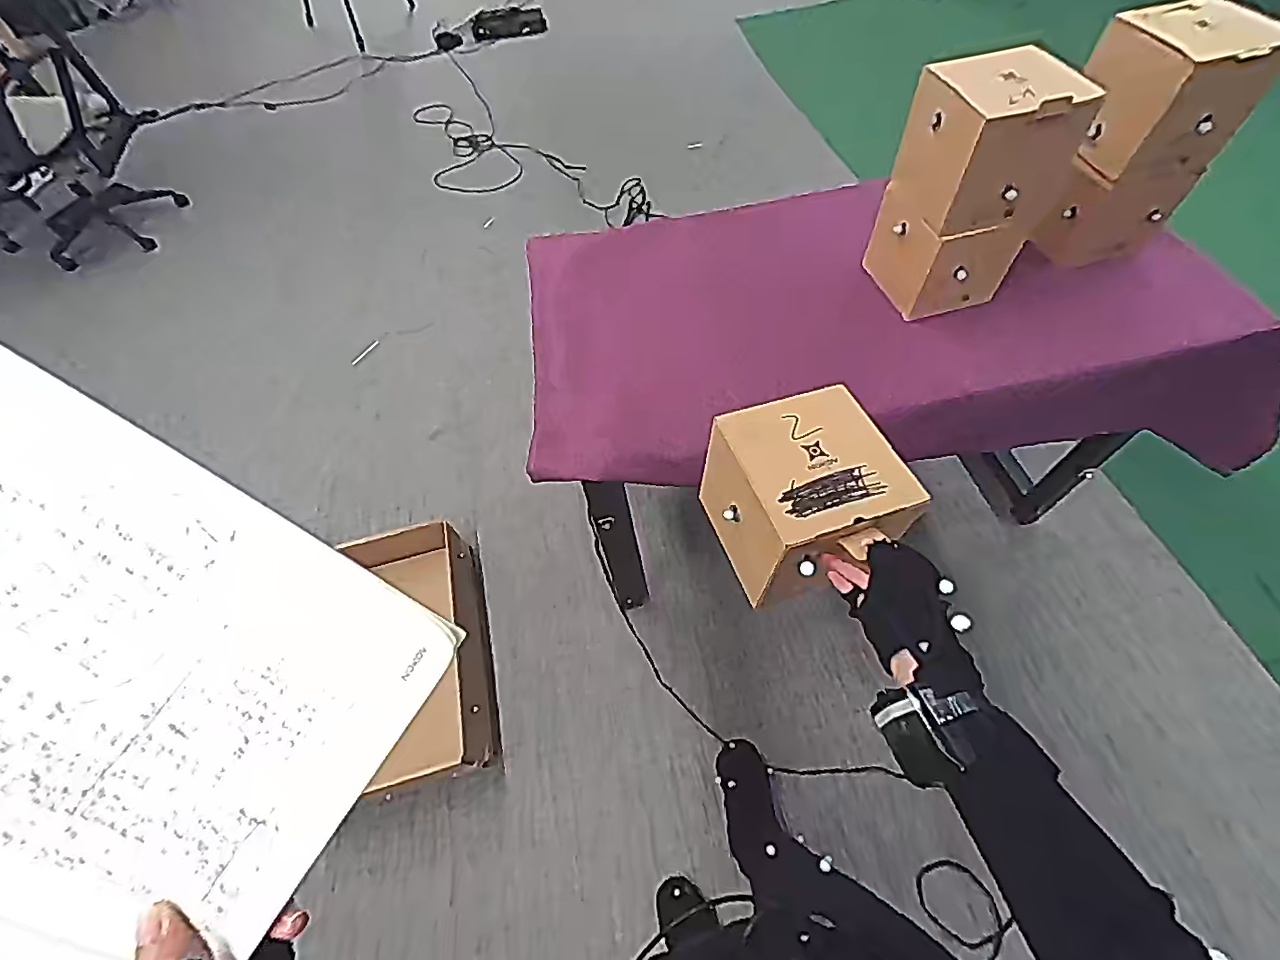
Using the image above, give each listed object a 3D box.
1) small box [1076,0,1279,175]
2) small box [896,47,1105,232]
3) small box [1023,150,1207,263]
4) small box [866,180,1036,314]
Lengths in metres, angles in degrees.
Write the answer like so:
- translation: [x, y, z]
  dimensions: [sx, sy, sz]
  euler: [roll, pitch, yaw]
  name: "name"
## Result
- translation: [0.811, -0.600, 0.841]
  dimensions: [0.168, 0.176, 0.179]
  euler: [-11, 59, -3]
  name: "small box"
- translation: [0.515, -0.505, 0.810]
  dimensions: [0.168, 0.176, 0.179]
  euler: [-12, 58, -1]
  name: "small box"
- translation: [0.829, -0.516, 0.981]
  dimensions: [0.168, 0.176, 0.179]
  euler: [-11, 58, -2]
  name: "small box"
- translation: [0.527, -0.413, 0.947]
  dimensions: [0.168, 0.176, 0.179]
  euler: [-14, 58, -3]
  name: "small box"
